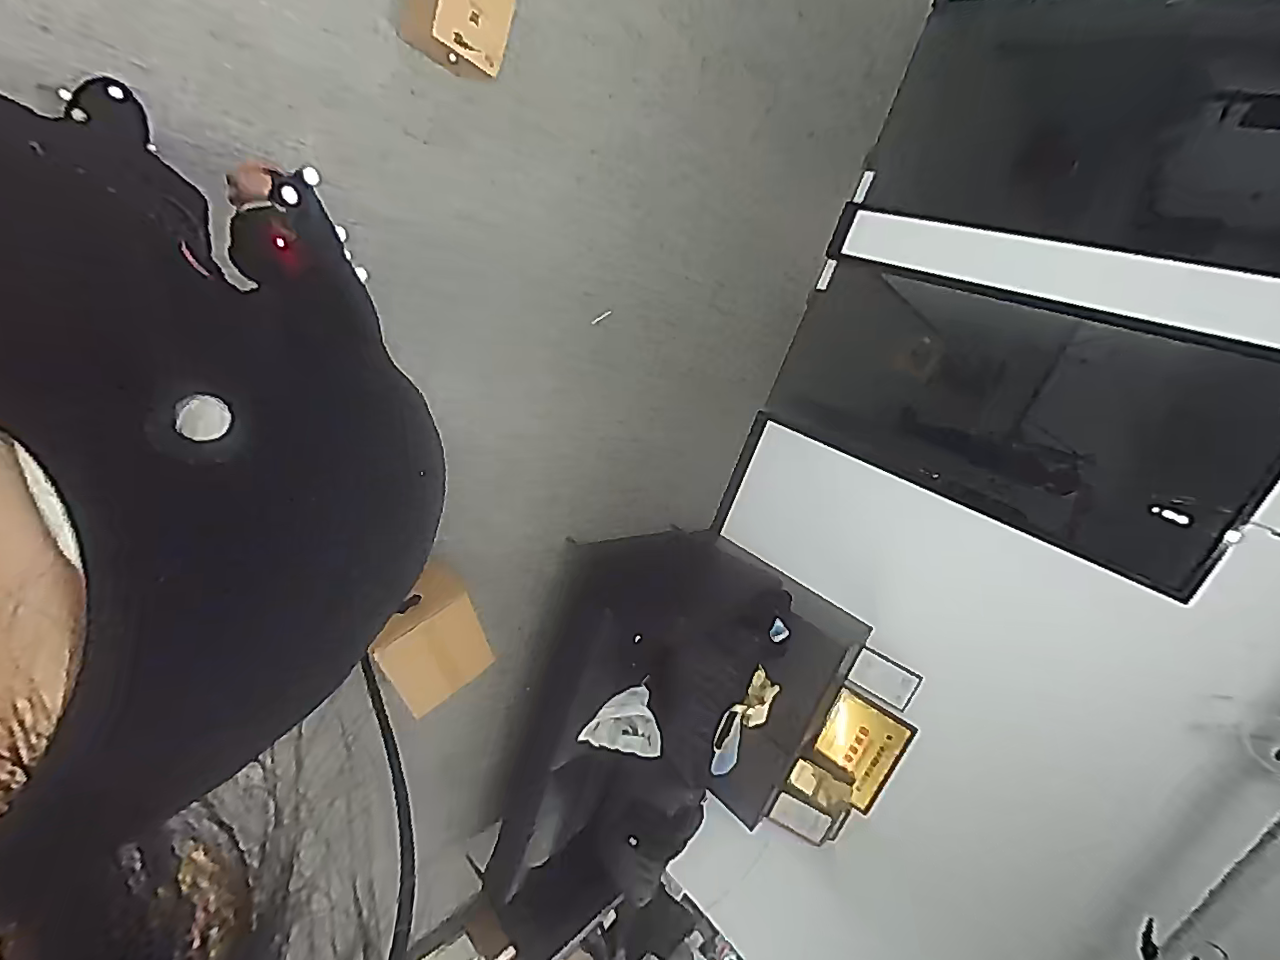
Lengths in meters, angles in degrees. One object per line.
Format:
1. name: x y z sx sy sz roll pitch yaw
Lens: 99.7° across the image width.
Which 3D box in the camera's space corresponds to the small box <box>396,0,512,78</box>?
1. small box: -0.415 -1.036 1.199 0.168 0.176 0.179 0 116 -52
